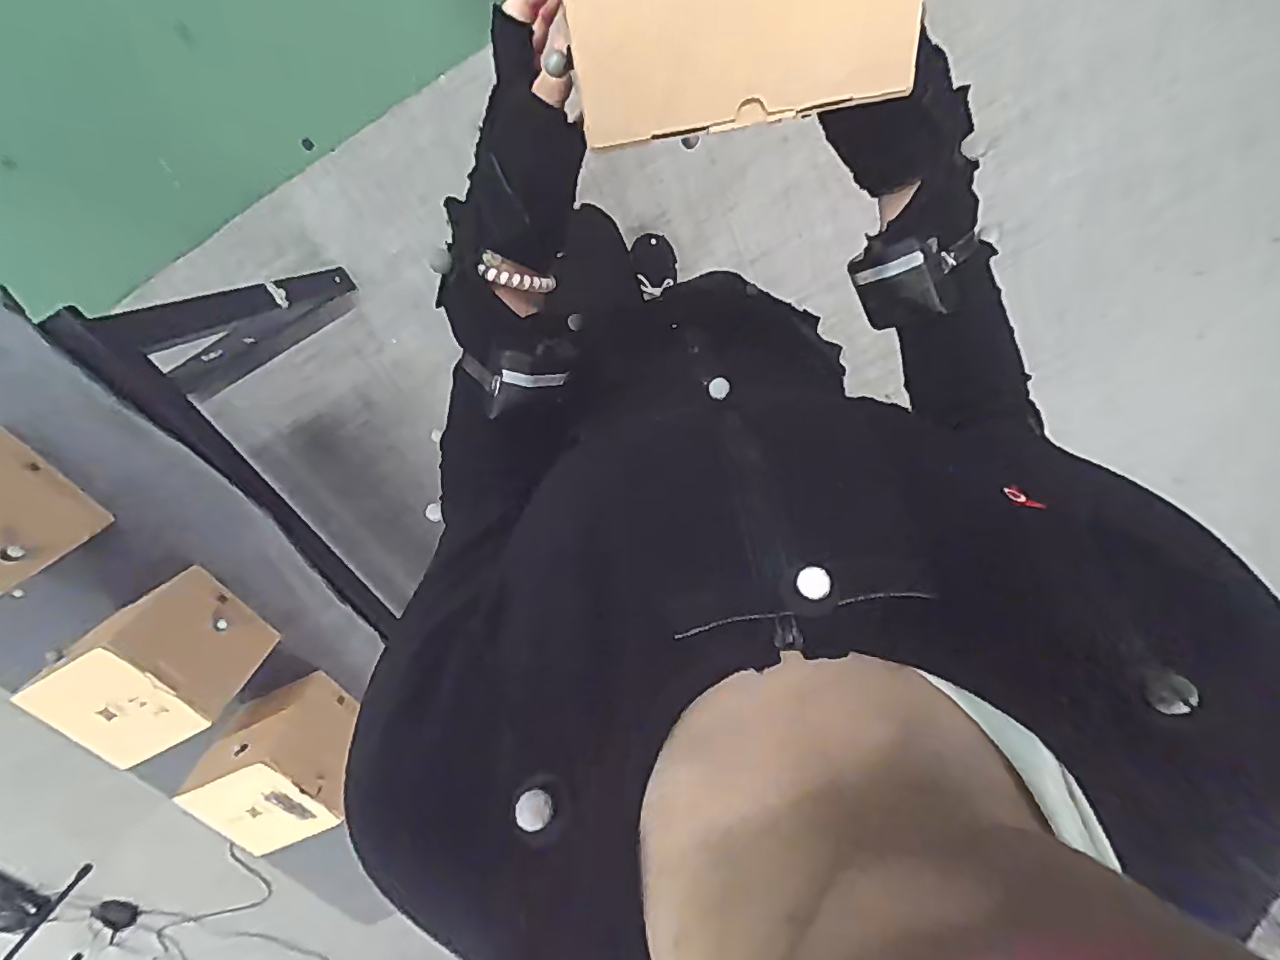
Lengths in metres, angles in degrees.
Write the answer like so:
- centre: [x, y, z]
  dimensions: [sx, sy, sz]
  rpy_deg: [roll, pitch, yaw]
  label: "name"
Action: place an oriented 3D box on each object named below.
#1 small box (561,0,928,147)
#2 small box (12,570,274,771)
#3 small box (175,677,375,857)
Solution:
- centre: [0.037, -0.295, 0.288]
  dimensions: [0.168, 0.176, 0.179]
  rpy_deg: [-11, 126, 0]
  label: "small box"
- centre: [-0.673, 0.260, 0.760]
  dimensions: [0.179, 0.176, 0.168]
  rpy_deg: [-27, 115, 11]
  label: "small box"
- centre: [-0.556, 0.448, 0.861]
  dimensions: [0.179, 0.176, 0.168]
  rpy_deg: [-26, 114, 11]
  label: "small box"
